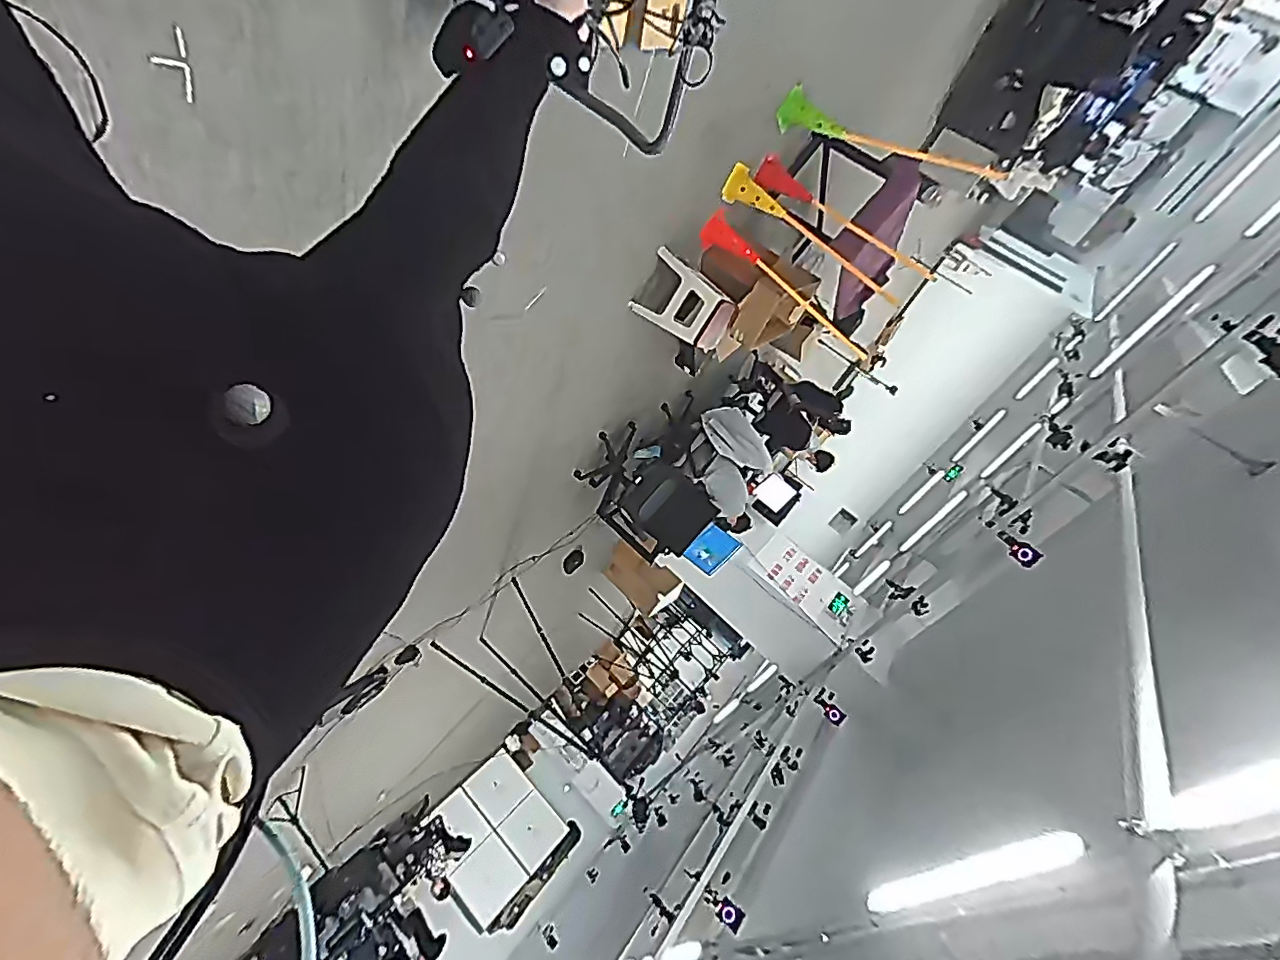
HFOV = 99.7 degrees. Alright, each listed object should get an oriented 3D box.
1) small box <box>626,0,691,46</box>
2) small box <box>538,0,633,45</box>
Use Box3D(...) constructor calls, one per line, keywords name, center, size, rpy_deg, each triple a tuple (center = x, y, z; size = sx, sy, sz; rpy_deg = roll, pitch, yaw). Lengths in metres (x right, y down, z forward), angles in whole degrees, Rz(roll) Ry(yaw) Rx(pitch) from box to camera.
Box3D(name="small box", center=(0.026, -1.370, 1.540), size=(0.179, 0.176, 0.168), rpy_deg=(-35, 158, -33))
Box3D(name="small box", center=(-0.136, -1.259, 1.396), size=(0.179, 0.176, 0.168), rpy_deg=(-34, 158, -36))
